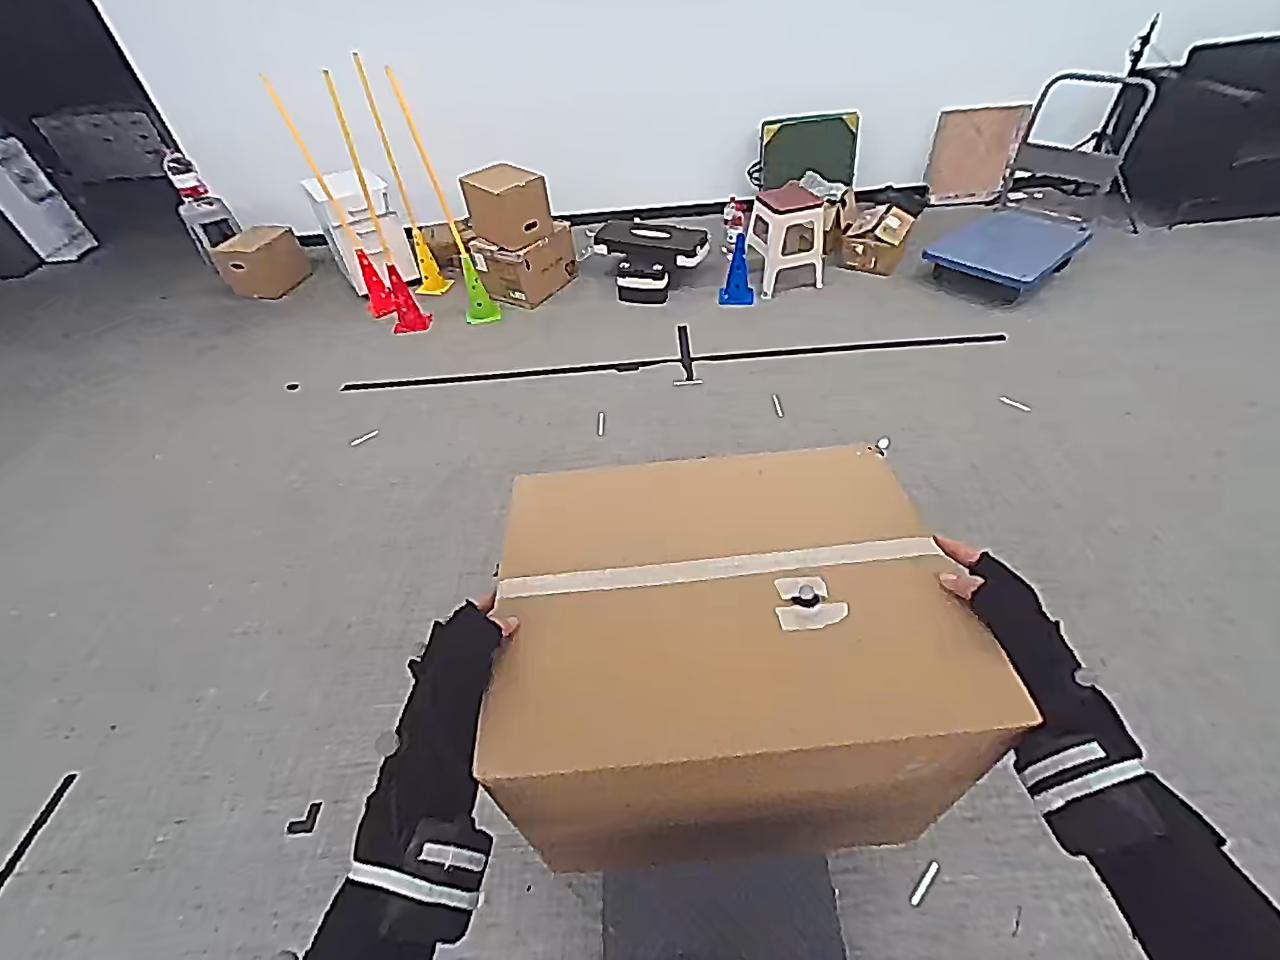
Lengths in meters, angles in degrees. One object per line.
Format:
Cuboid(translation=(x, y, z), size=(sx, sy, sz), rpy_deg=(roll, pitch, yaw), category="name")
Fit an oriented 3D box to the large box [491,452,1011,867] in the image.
Cuboid(translation=(0.081, 0.199, 0.610), size=(0.408, 0.320, 0.320), rpy_deg=(-5, 44, -1), category="large box")
